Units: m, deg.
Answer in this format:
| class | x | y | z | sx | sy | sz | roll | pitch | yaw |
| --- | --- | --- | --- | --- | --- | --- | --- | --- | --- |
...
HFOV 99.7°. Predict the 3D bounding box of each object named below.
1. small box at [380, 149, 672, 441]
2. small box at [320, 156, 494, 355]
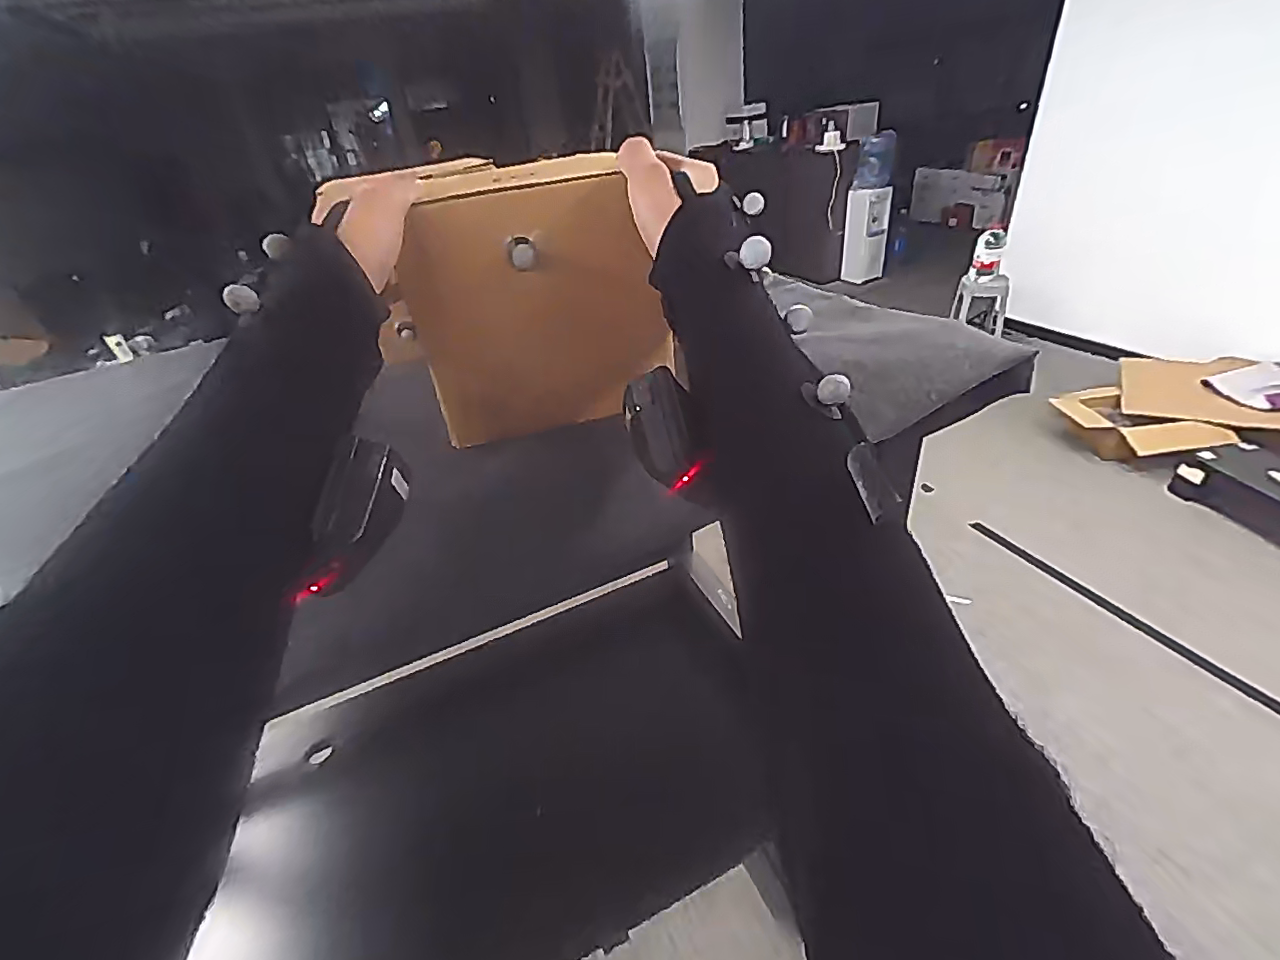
| class | x | y | z | sx | sy | sz | roll | pitch | yaw |
| --- | --- | --- | --- | --- | --- | --- | --- | --- | --- |
| small box | -0.077 | -0.153 | 0.435 | 0.179 | 0.176 | 0.168 | -14 | 35 | -7 |
| small box | -0.230 | -0.255 | 0.613 | 0.168 | 0.176 | 0.179 | -18 | 35 | -13 |
